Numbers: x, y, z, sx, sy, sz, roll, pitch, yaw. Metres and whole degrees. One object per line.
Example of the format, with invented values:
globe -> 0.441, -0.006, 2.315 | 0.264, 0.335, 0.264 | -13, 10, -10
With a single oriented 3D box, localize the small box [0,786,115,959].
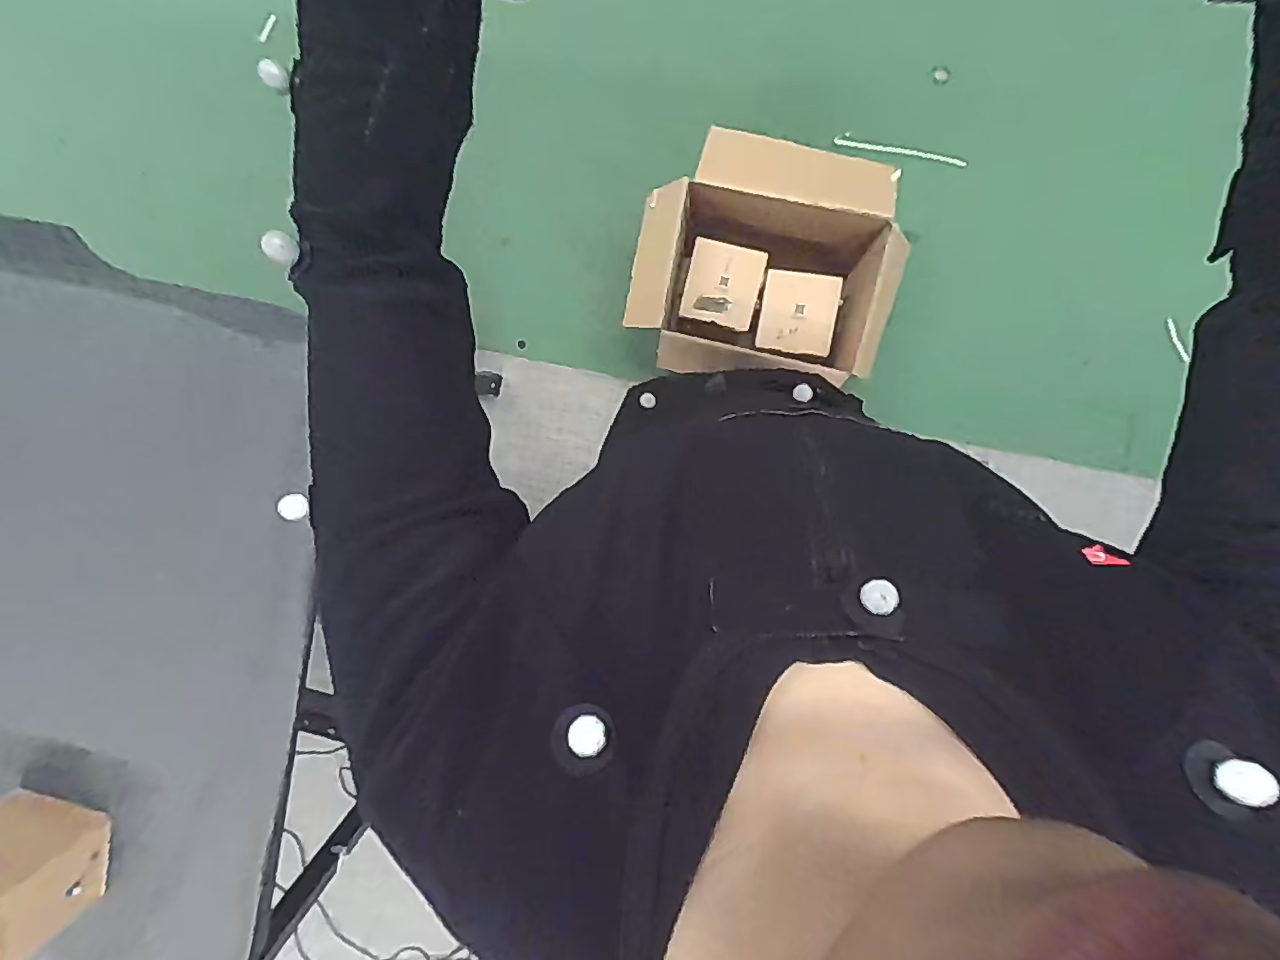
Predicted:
small box -> -1.005, 0.627, 0.857 | 0.179, 0.176, 0.168 | 15, 101, 1
